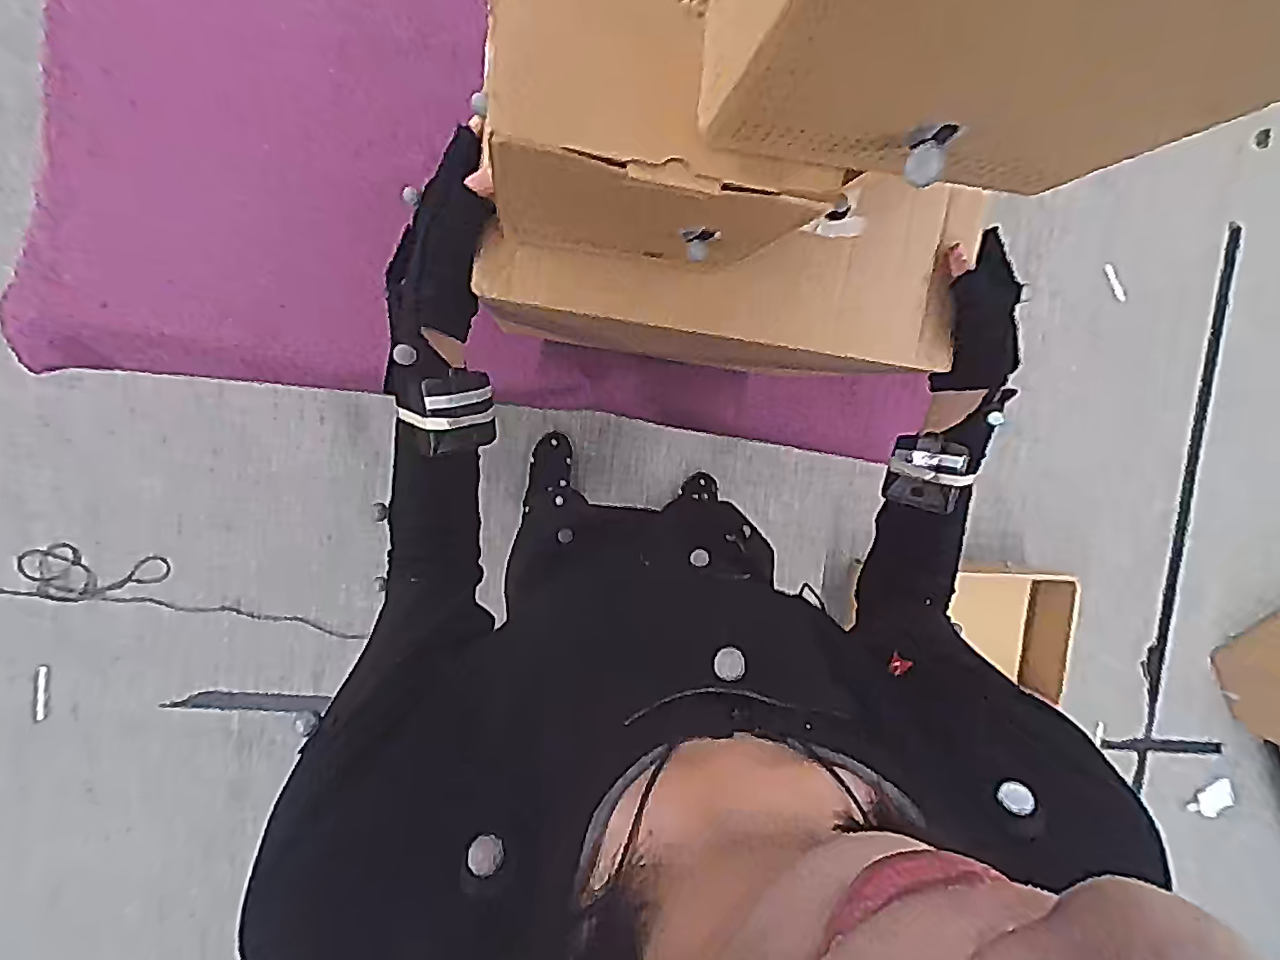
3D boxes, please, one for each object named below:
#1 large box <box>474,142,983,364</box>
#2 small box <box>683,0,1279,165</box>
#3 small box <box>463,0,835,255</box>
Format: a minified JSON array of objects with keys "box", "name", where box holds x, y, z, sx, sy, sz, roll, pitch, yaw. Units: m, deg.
[{"box":[0.058,-0.297,0.549,0.408,0.320,0.320,5,100,-12],"name":"large box"},{"box":[0.123,-0.214,0.154,0.179,0.176,0.168,3,100,-10],"name":"small box"},{"box":[0.002,-0.239,0.298,0.168,0.176,0.179,4,98,-13],"name":"small box"}]
